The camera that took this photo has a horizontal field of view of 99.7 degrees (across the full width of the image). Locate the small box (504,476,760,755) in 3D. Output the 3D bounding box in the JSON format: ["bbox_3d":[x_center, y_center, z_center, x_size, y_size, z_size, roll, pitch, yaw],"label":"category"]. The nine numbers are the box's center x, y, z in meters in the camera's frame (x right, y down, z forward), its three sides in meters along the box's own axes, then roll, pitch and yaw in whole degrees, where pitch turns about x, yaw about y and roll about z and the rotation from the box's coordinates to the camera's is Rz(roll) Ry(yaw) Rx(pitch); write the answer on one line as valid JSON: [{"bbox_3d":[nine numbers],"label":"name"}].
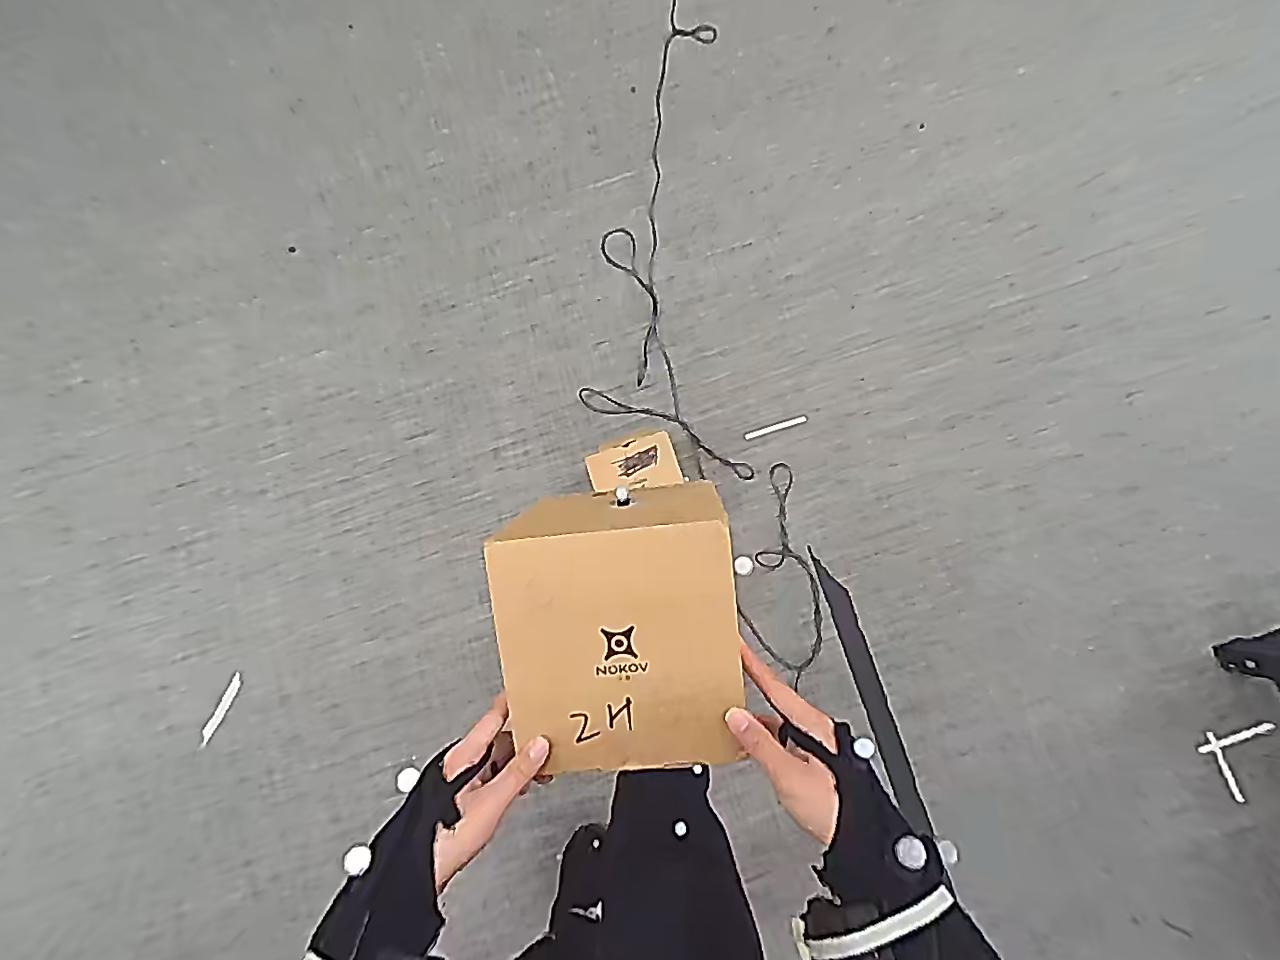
[{"bbox_3d":[0.000,0.093,0.449,0.168,0.176,0.179,-5,98,5],"label":"small box"}]

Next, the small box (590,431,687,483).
[{"bbox_3d":[0.009,0.022,1.078,0.168,0.176,0.179,-19,83,0],"label":"small box"}]
